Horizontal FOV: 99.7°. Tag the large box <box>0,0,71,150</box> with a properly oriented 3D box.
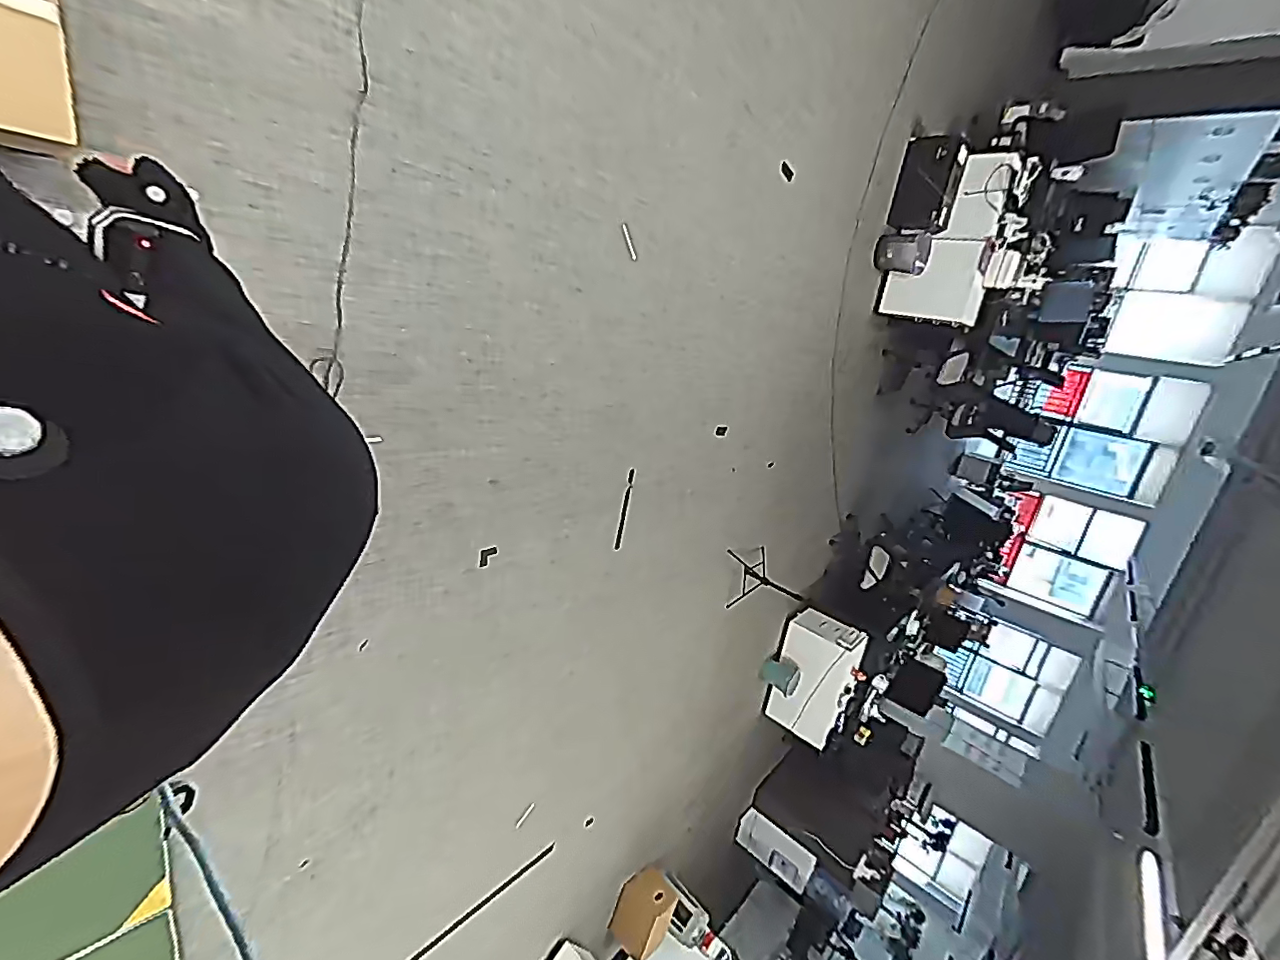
[{"bbox_3d":[-1.039,-0.646,0.670,0.408,0.320,0.320,-13,118,-49],"label":"large box"}]
